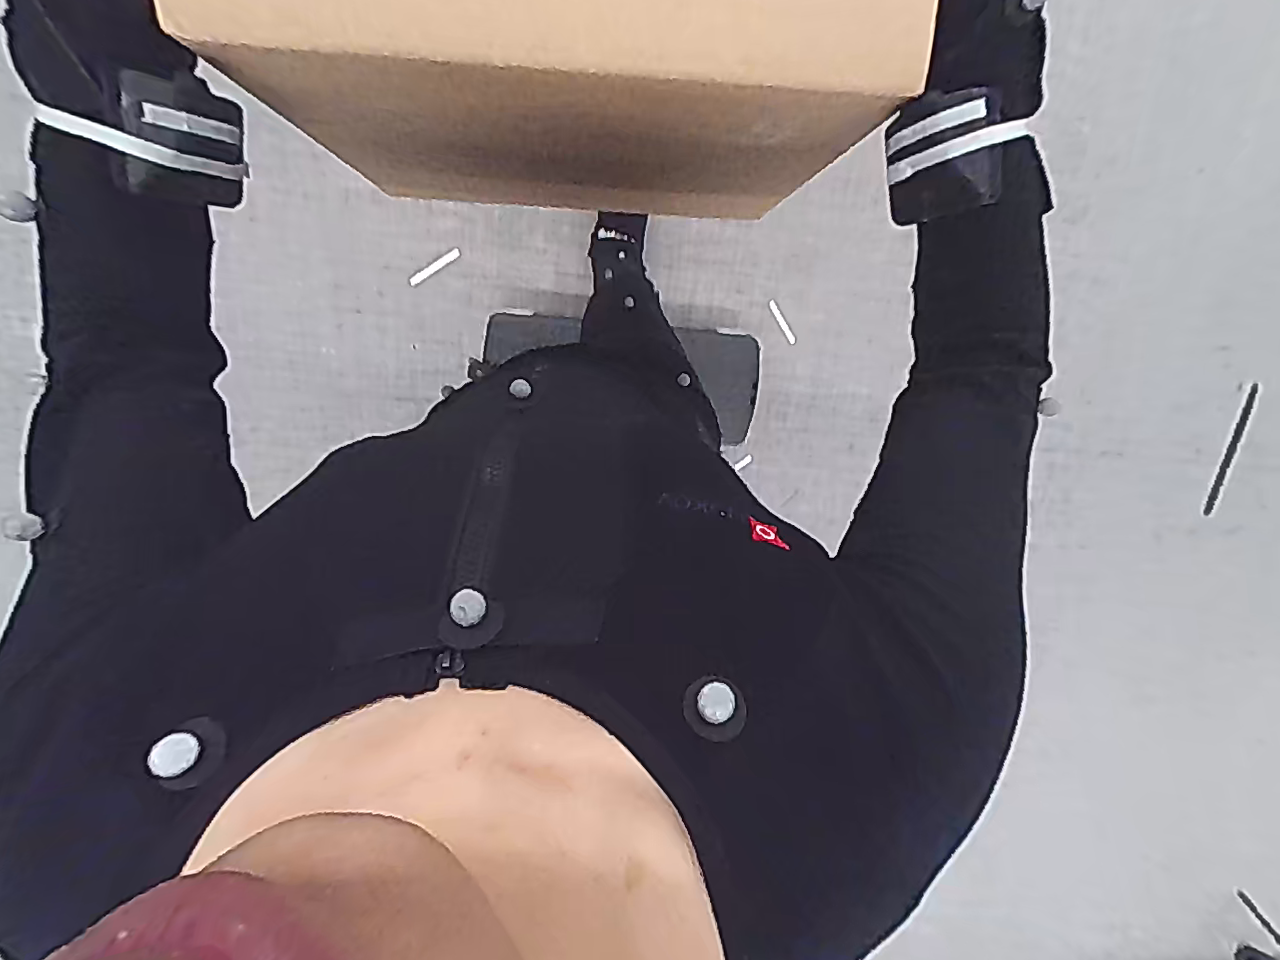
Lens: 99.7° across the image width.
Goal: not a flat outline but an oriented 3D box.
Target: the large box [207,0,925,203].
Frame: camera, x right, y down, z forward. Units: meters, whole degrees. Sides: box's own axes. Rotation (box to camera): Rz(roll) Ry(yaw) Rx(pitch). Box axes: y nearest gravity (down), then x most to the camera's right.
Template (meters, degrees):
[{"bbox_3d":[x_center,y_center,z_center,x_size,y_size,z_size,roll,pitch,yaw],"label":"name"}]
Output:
[{"bbox_3d":[-0.045,-0.425,0.415,0.408,0.320,0.320,0,104,-5],"label":"large box"}]
